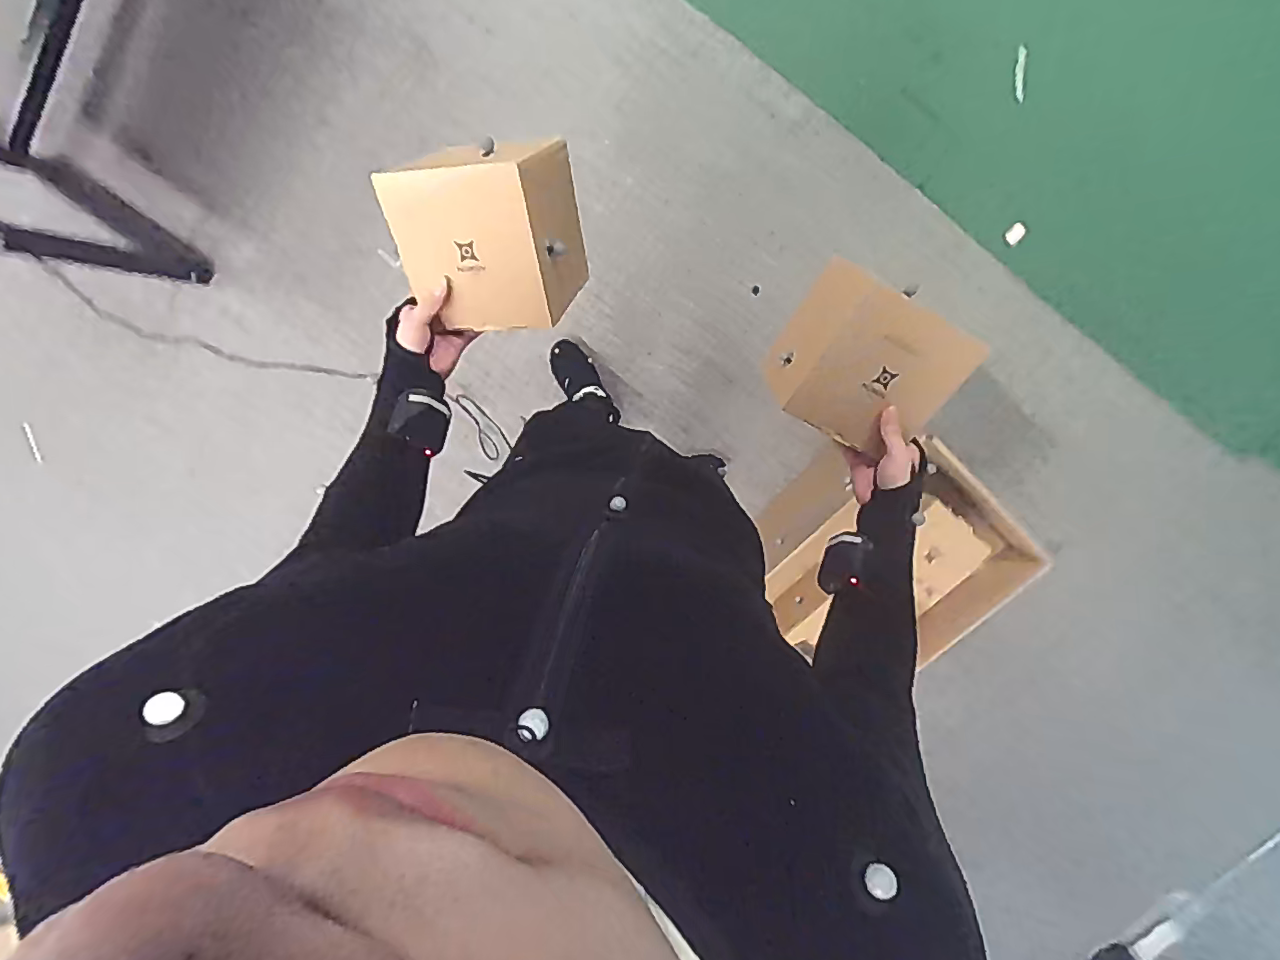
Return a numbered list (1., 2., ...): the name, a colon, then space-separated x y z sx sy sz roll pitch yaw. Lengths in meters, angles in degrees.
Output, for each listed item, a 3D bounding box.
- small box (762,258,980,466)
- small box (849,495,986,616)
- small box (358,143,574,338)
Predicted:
1. small box: 0.273 -0.155 0.691 0.168 0.176 0.179 25 119 -13
2. small box: 0.597 0.156 1.190 0.168 0.176 0.179 41 101 -5
3. small box: -0.188 -0.289 0.647 0.168 0.176 0.179 1 131 10
